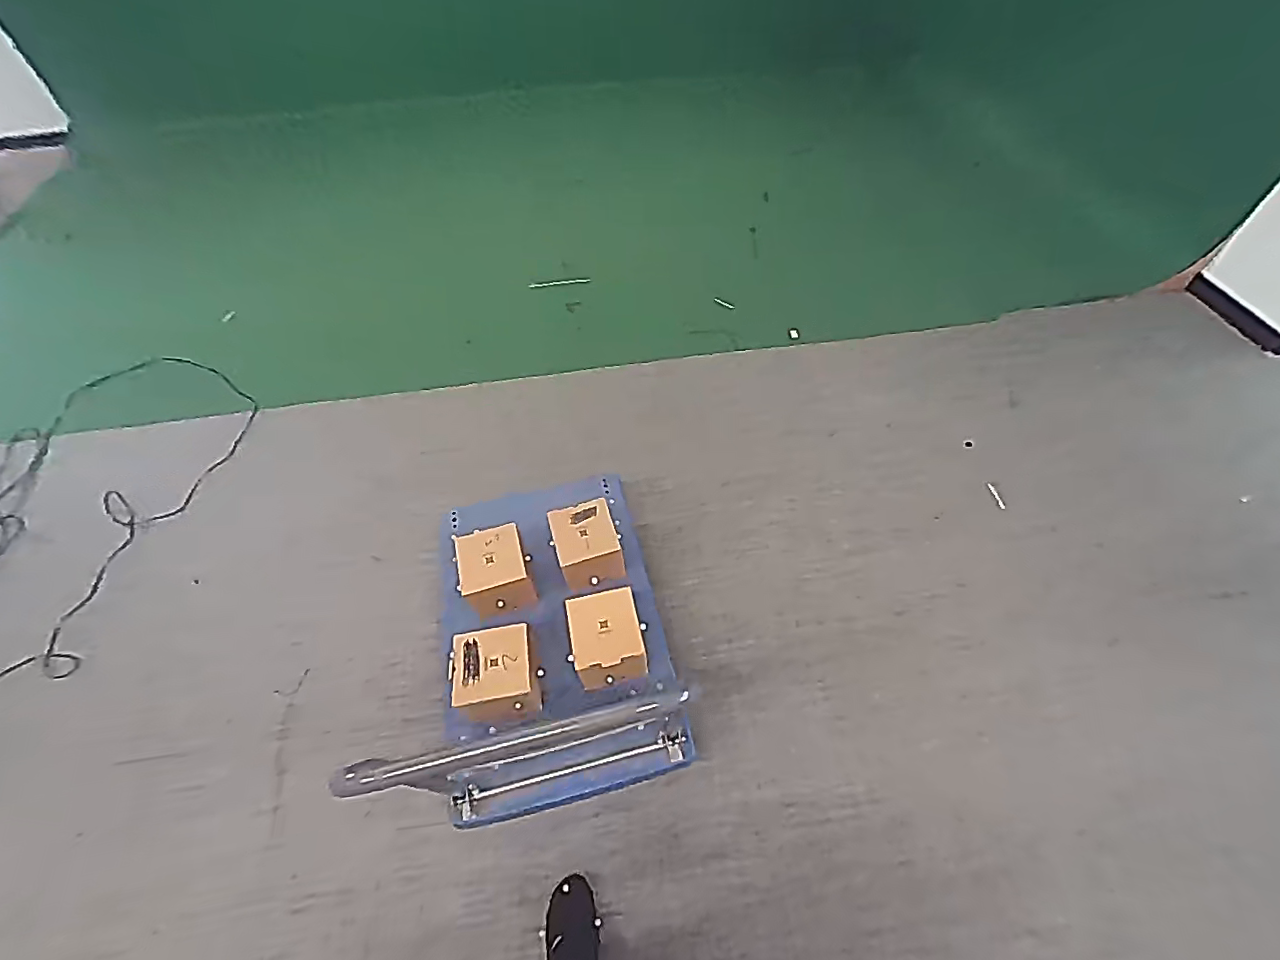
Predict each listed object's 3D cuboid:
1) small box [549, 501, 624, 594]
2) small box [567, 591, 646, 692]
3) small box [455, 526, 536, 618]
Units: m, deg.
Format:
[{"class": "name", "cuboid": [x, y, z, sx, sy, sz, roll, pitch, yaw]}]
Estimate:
[{"class": "small box", "cuboid": [-0.146, 0.190, 1.499, 0.168, 0.176, 0.179, -15, 56, -8]}, {"class": "small box", "cuboid": [-0.082, 0.403, 1.345, 0.168, 0.176, 0.179, -11, 55, -6]}, {"class": "small box", "cuboid": [-0.386, 0.257, 1.461, 0.168, 0.176, 0.179, -15, 55, -9]}]
